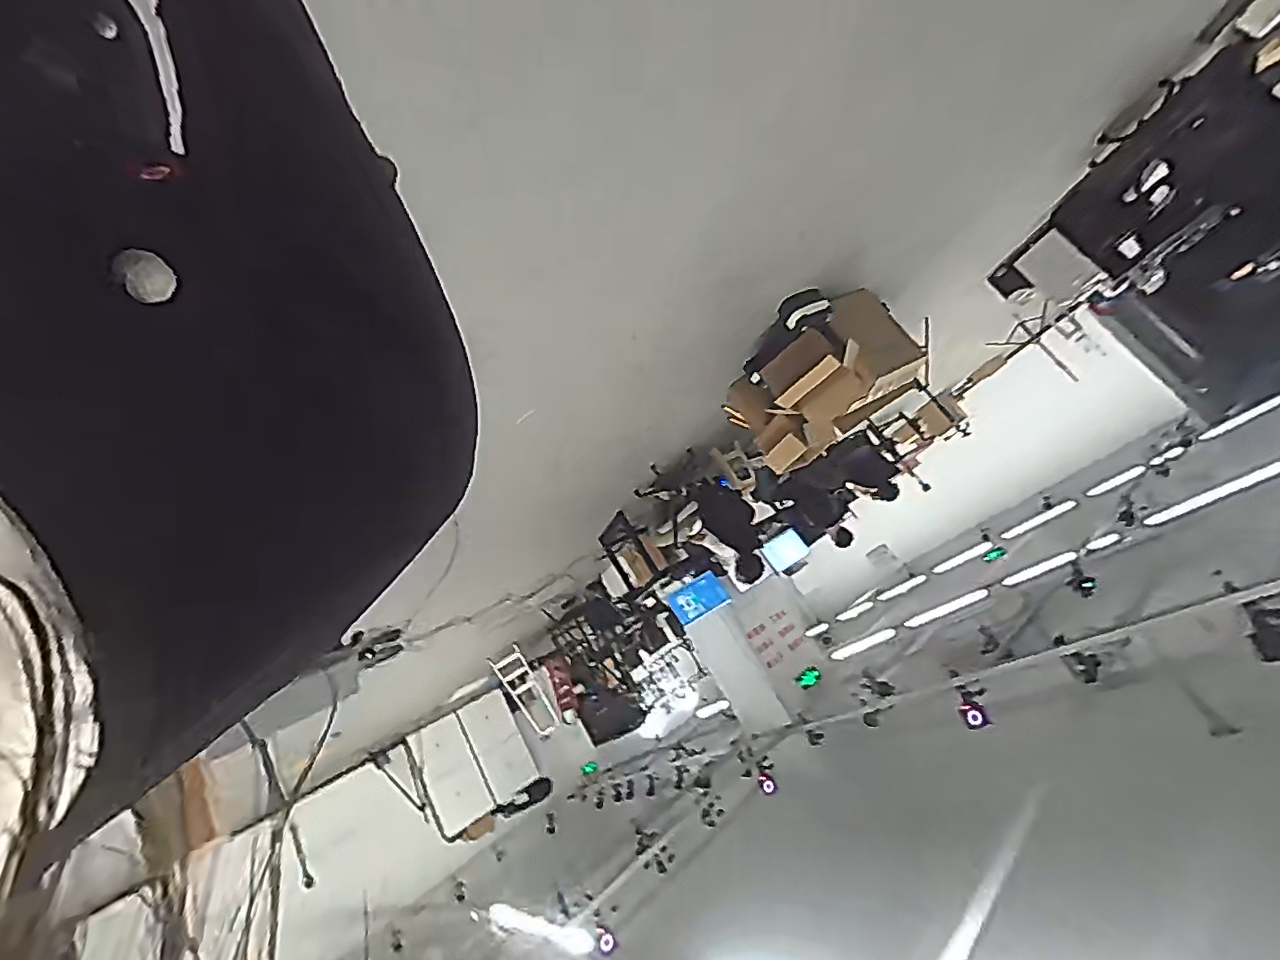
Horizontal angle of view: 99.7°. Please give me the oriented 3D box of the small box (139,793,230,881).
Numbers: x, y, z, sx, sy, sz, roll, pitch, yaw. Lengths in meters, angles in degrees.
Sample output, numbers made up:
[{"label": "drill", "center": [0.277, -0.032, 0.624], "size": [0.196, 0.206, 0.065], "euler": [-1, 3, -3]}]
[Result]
[{"label": "small box", "center": [-1.445, 1.127, 1.715], "size": [0.179, 0.176, 0.168], "euler": [-21, 158, -31]}]

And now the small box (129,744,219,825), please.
[{"label": "small box", "center": [-1.526, 0.997, 1.773], "size": [0.179, 0.176, 0.168], "euler": [-19, 157, -34]}]
